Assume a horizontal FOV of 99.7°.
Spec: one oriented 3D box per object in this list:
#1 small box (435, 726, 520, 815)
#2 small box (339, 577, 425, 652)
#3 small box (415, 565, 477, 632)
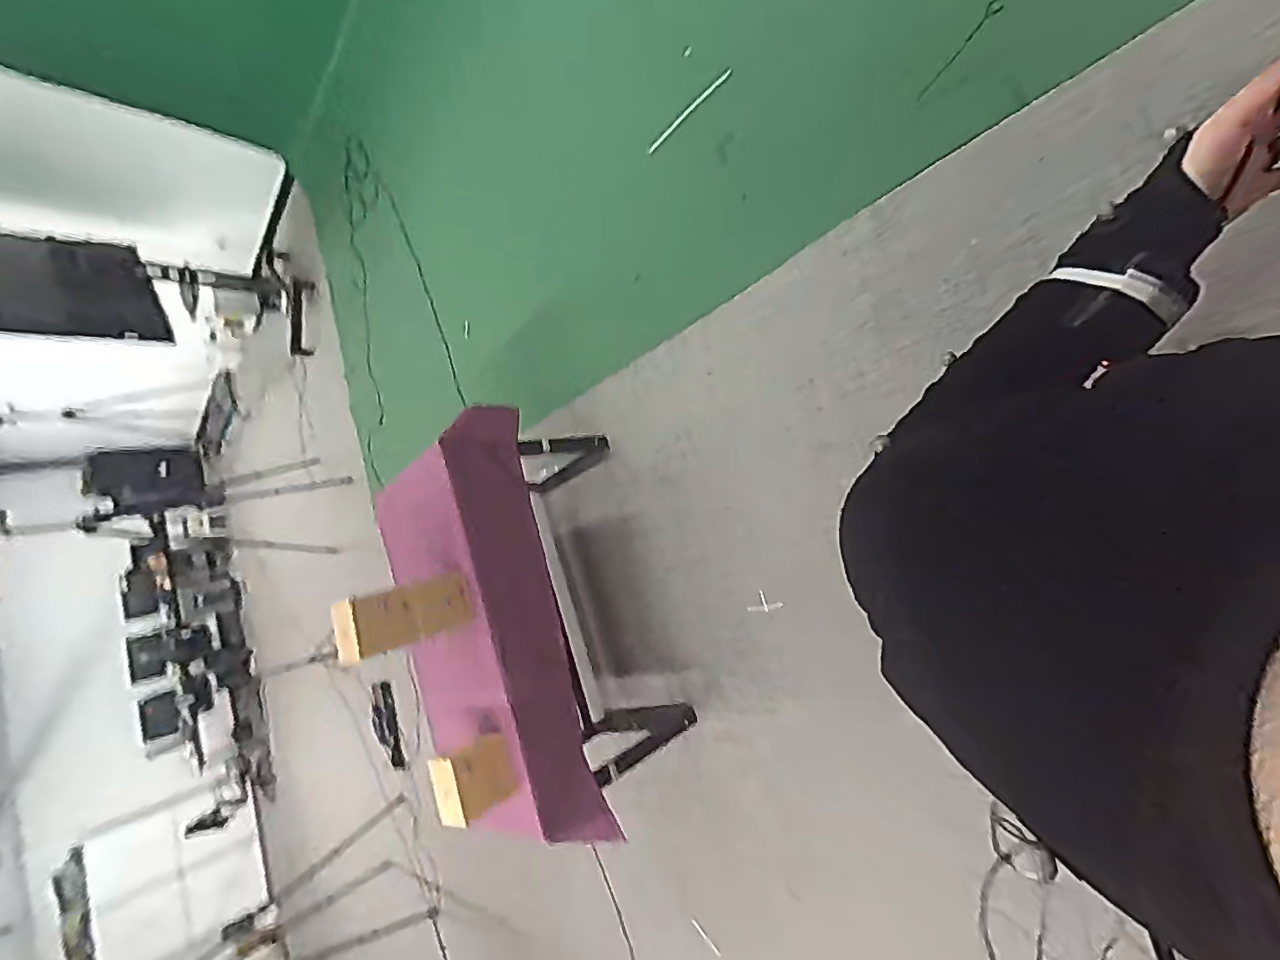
[{"bbox_3d":[-0.473,0.843,1.582,0.168,0.176,0.179,-29,74,43],"label":"small box"},{"bbox_3d":[-0.732,0.382,1.545,0.179,0.176,0.168,-22,80,44],"label":"small box"},{"bbox_3d":[-0.615,0.366,1.659,0.179,0.176,0.168,-24,78,43],"label":"small box"}]
